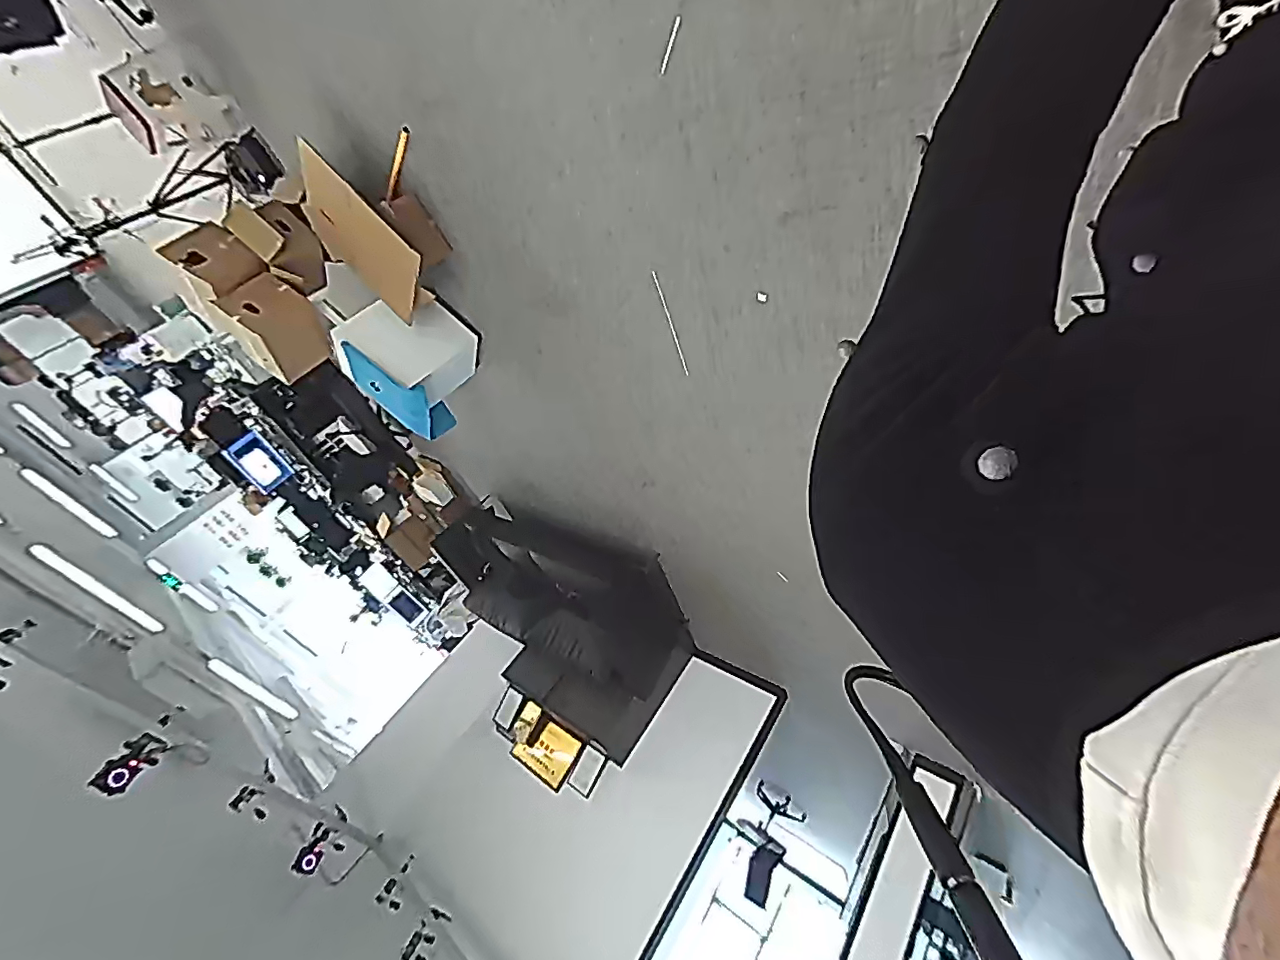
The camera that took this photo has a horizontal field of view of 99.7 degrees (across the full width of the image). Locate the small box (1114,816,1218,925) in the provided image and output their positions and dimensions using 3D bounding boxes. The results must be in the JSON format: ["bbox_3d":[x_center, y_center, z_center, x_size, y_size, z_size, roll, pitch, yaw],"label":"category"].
[{"bbox_3d":[1.470,1.087,1.511,0.168,0.176,0.179,18,143,36],"label":"small box"}]
